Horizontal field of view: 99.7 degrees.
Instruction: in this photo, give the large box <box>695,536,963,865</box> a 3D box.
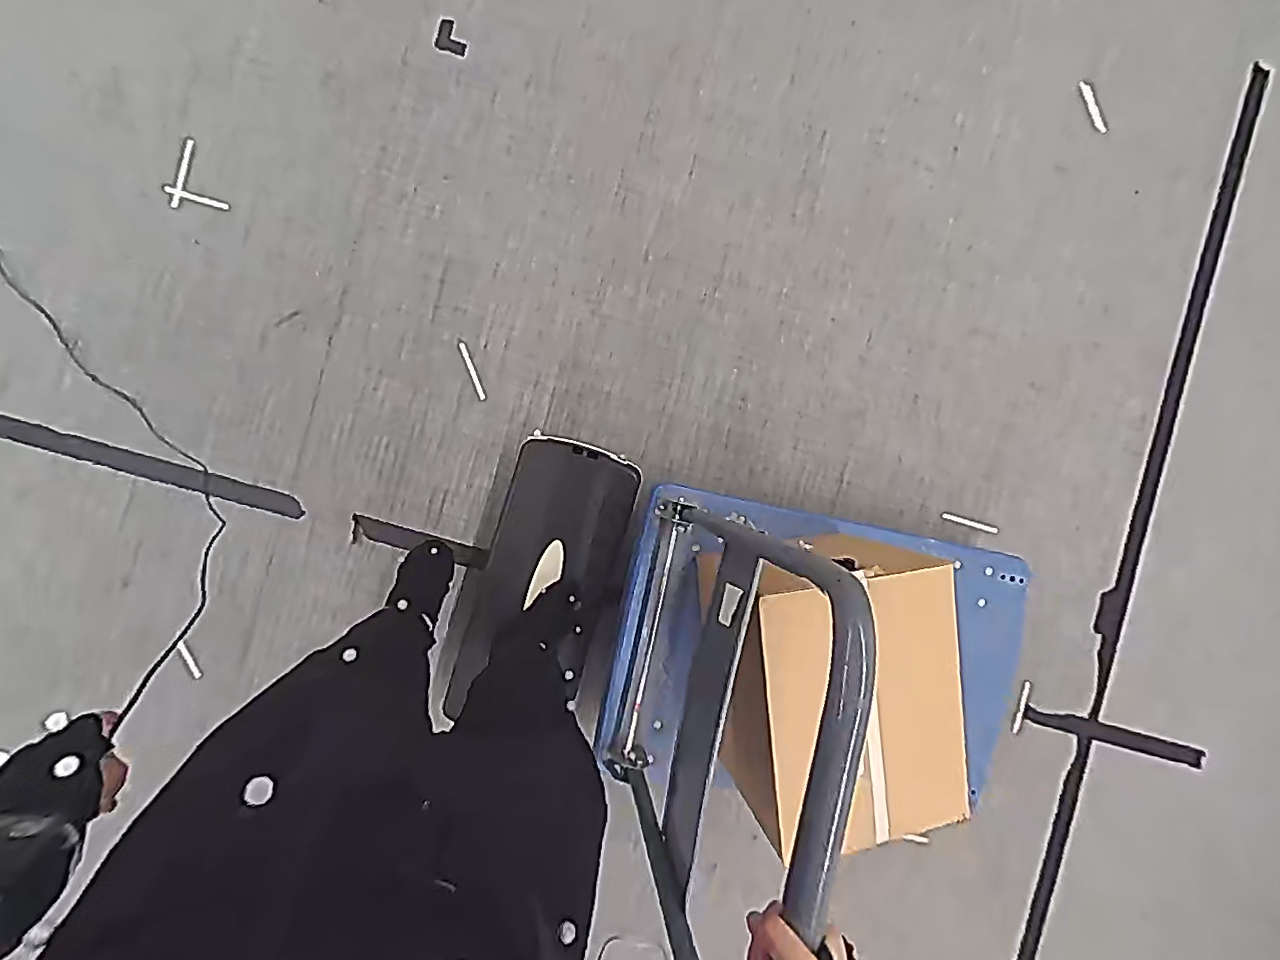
[{"bbox_3d":[0.303,0.337,0.943,0.320,0.320,0.408,-7,95,-10],"label":"large box"}]
